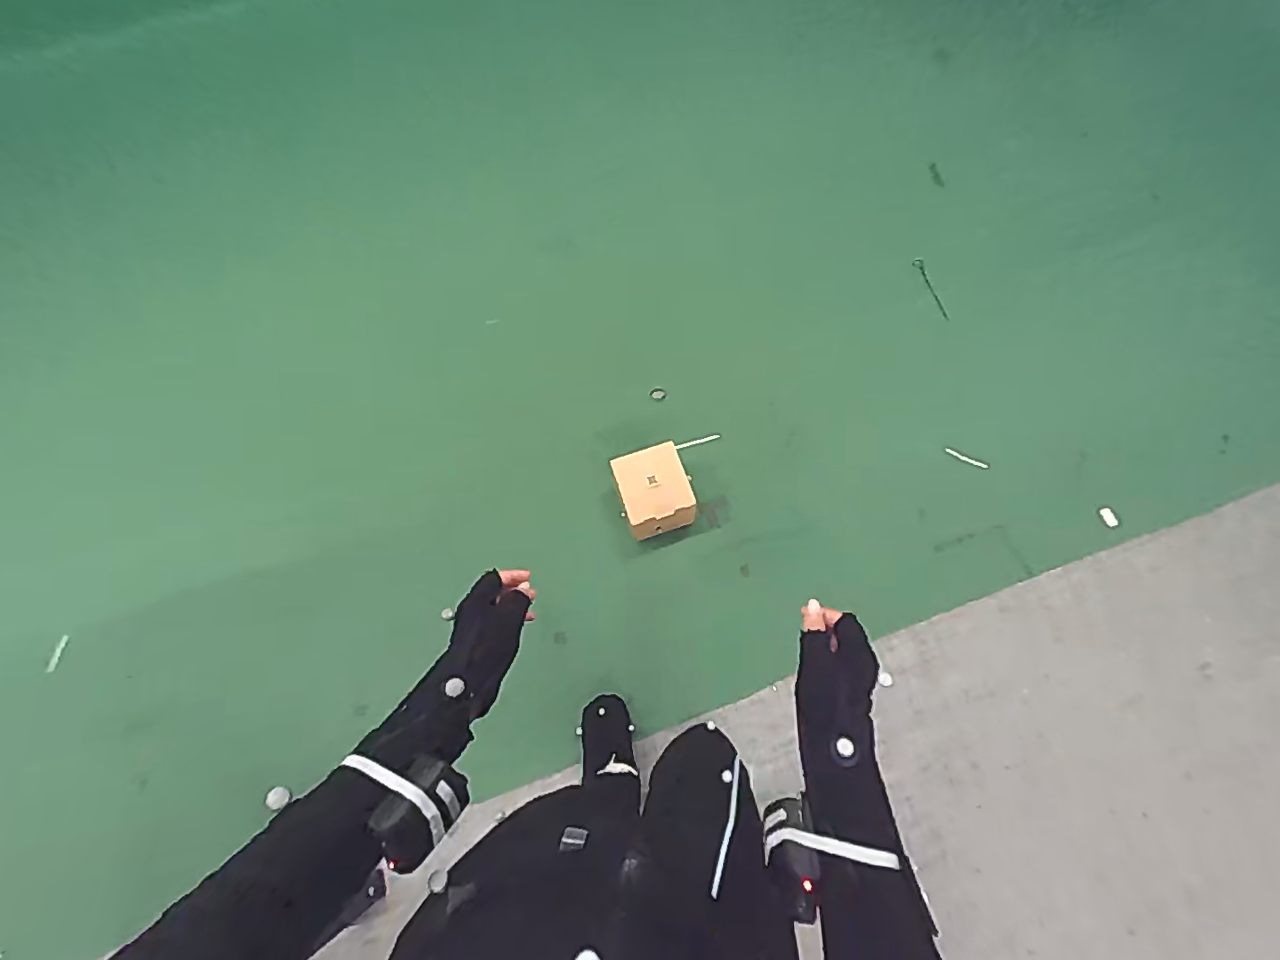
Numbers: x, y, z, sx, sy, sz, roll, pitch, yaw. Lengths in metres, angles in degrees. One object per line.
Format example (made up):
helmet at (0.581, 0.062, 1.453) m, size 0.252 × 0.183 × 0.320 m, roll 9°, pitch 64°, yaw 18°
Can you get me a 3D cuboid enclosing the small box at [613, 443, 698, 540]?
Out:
small box at (0.036, 0.034, 1.381) m, size 0.168 × 0.176 × 0.179 m, roll -18°, pitch 71°, yaw -5°
